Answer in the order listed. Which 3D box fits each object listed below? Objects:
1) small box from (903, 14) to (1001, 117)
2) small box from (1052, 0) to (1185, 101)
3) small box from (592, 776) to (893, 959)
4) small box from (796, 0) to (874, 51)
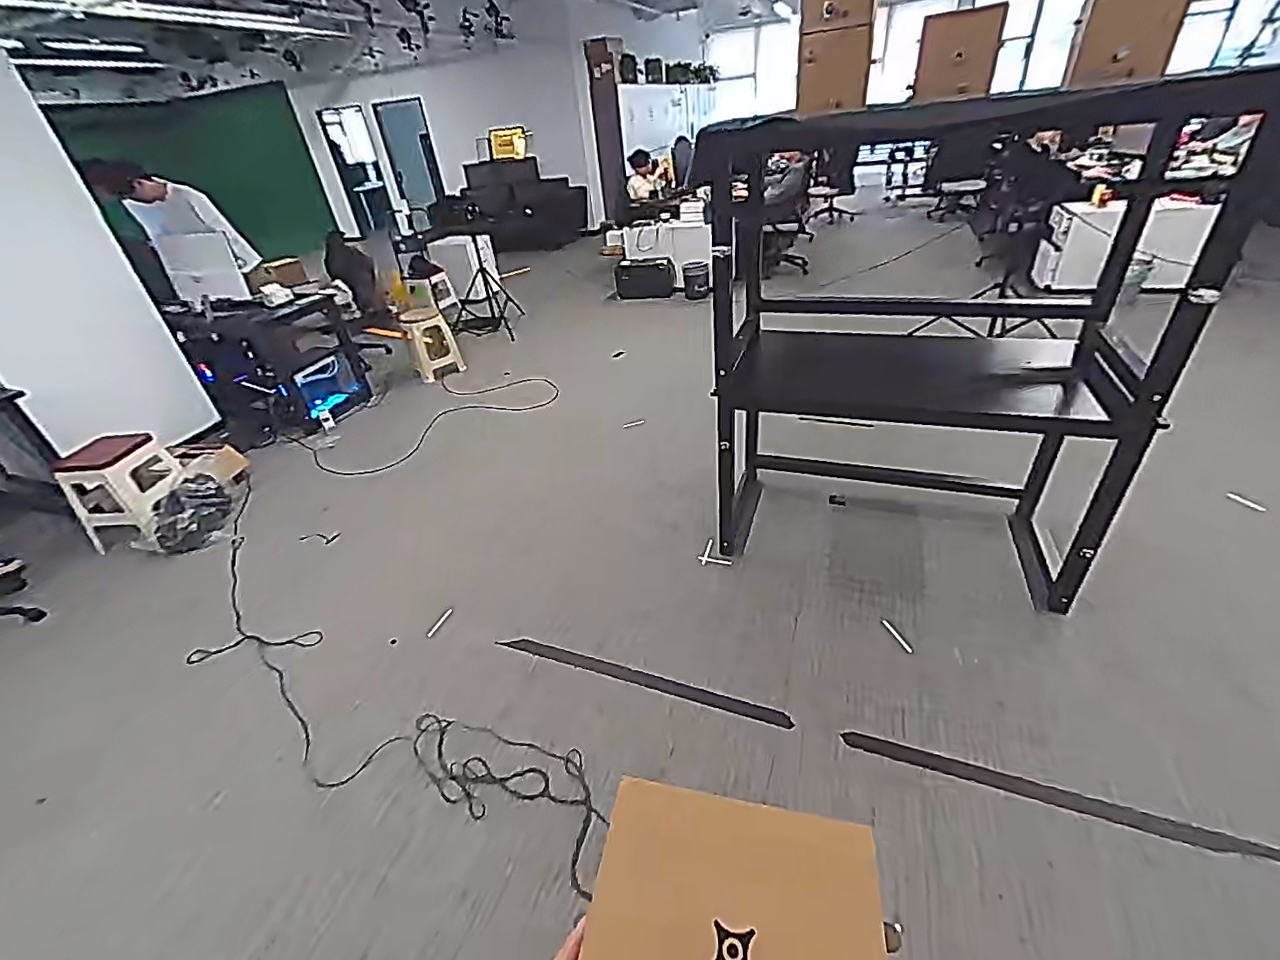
[{"bbox_3d":[0.729,-0.970,1.279,0.168,0.176,0.179,9,35,20],"label":"small box"},{"bbox_3d":[1.019,-0.928,1.167,0.168,0.176,0.179,11,37,25],"label":"small box"},{"bbox_3d":[0.061,0.330,0.347,0.168,0.176,0.179,4,39,12],"label":"small box"},{"bbox_3d":[0.466,-1.138,1.283,0.168,0.176,0.179,6,35,20],"label":"small box"}]
